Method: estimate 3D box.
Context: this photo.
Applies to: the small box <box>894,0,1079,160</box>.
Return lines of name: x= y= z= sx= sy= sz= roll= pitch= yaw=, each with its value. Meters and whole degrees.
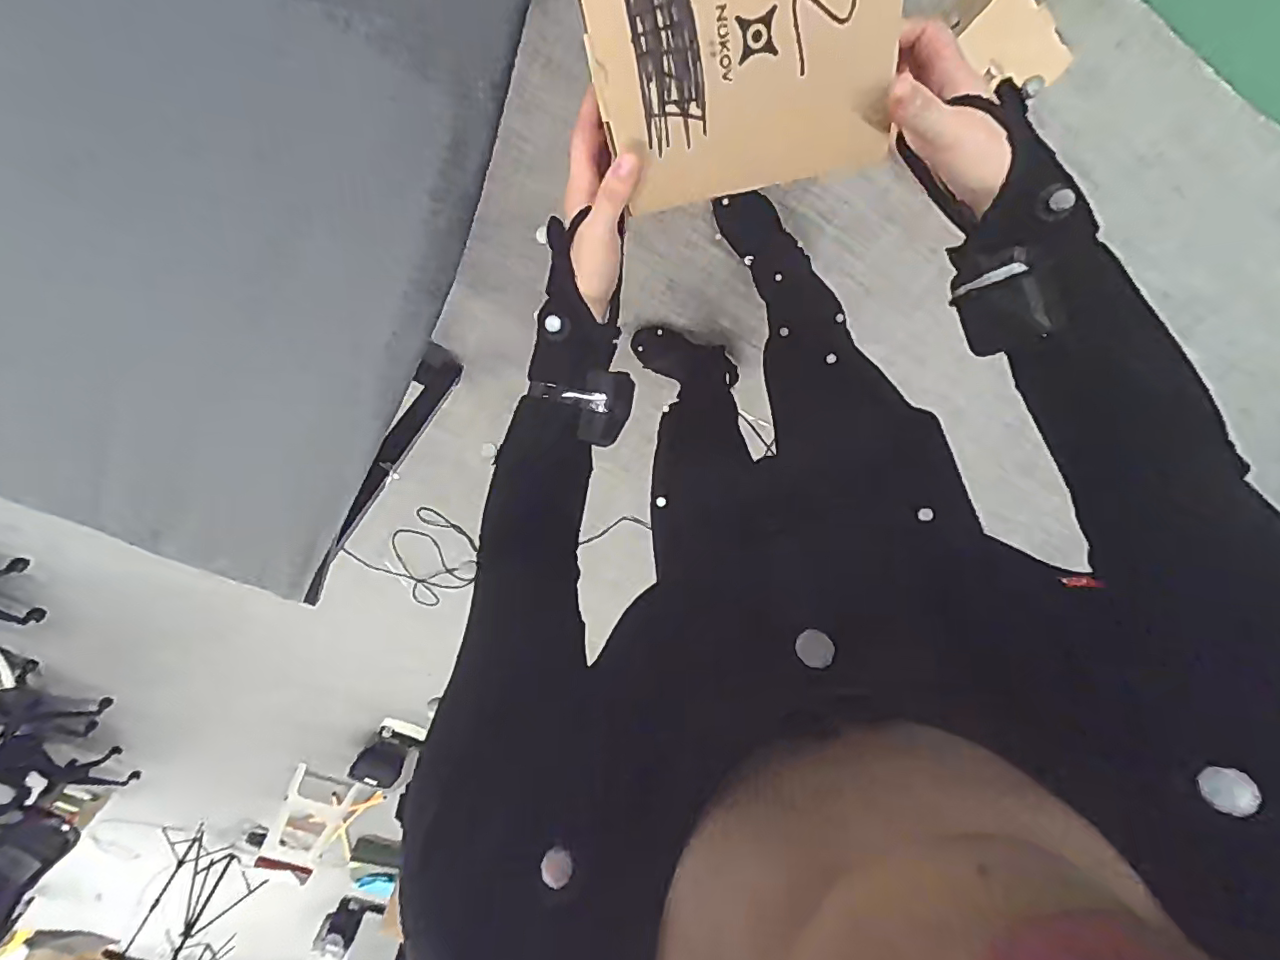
small box: x=0.563 y=-0.682 z=0.904 sx=0.168 sy=0.176 sz=0.179 roll=33 pitch=124 yaw=-20

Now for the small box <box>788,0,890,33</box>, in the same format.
small box: x=0.312 y=-0.819 z=0.823 sx=0.179 sy=0.176 sz=0.168 roll=20 pitch=127 yaw=-10
